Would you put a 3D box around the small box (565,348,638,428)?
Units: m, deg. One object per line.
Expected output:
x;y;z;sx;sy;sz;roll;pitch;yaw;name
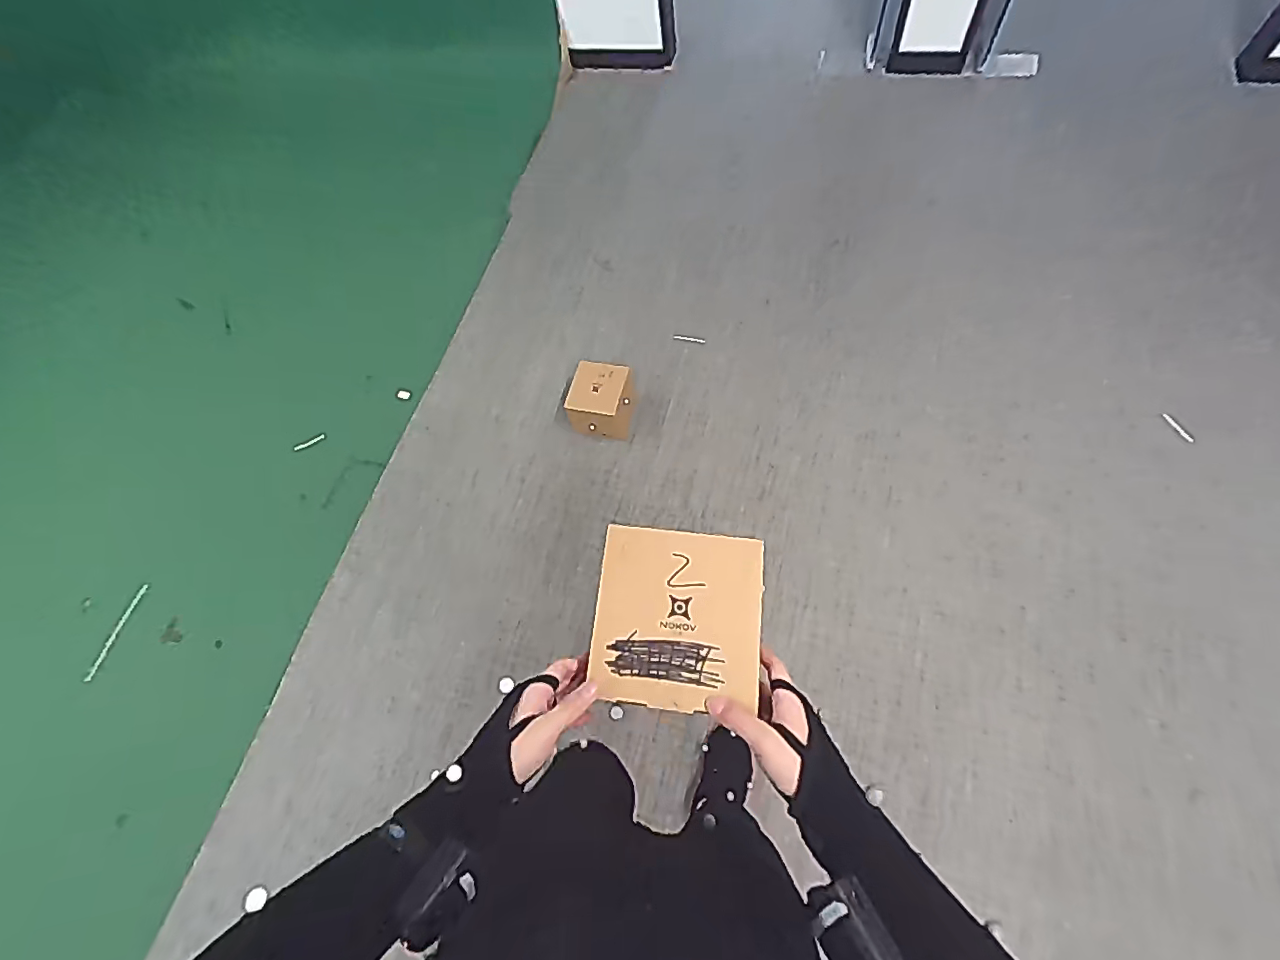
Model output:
-0.114;-0.283;1.693;0.168;0.176;0.179;14;70;13;small box
